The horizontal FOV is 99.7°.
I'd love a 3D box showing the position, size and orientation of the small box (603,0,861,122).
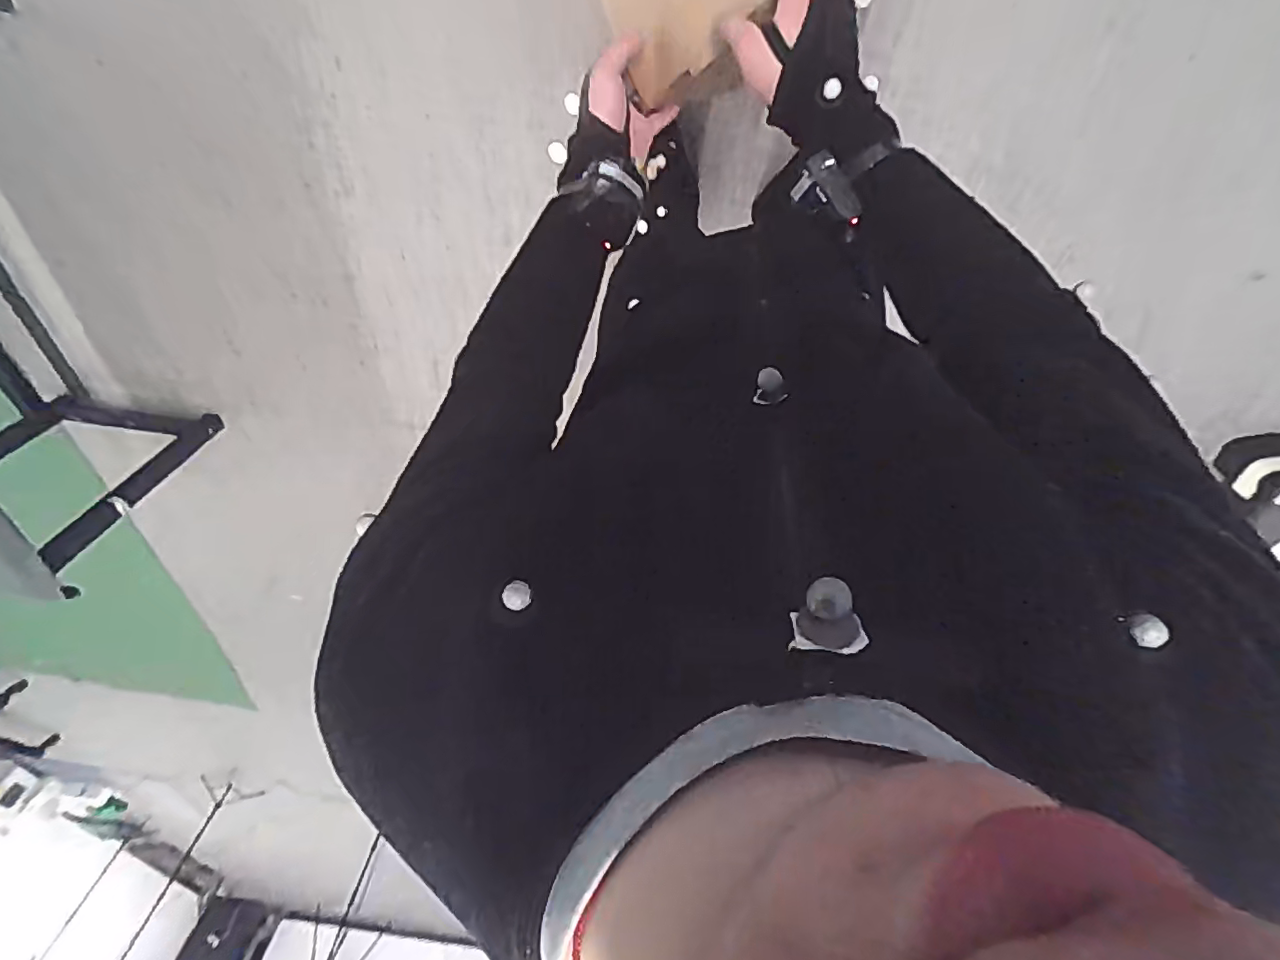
[{"bbox_3d":[0.080,-0.477,0.502,0.168,0.176,0.179,-5,118,48],"label":"small box"}]
